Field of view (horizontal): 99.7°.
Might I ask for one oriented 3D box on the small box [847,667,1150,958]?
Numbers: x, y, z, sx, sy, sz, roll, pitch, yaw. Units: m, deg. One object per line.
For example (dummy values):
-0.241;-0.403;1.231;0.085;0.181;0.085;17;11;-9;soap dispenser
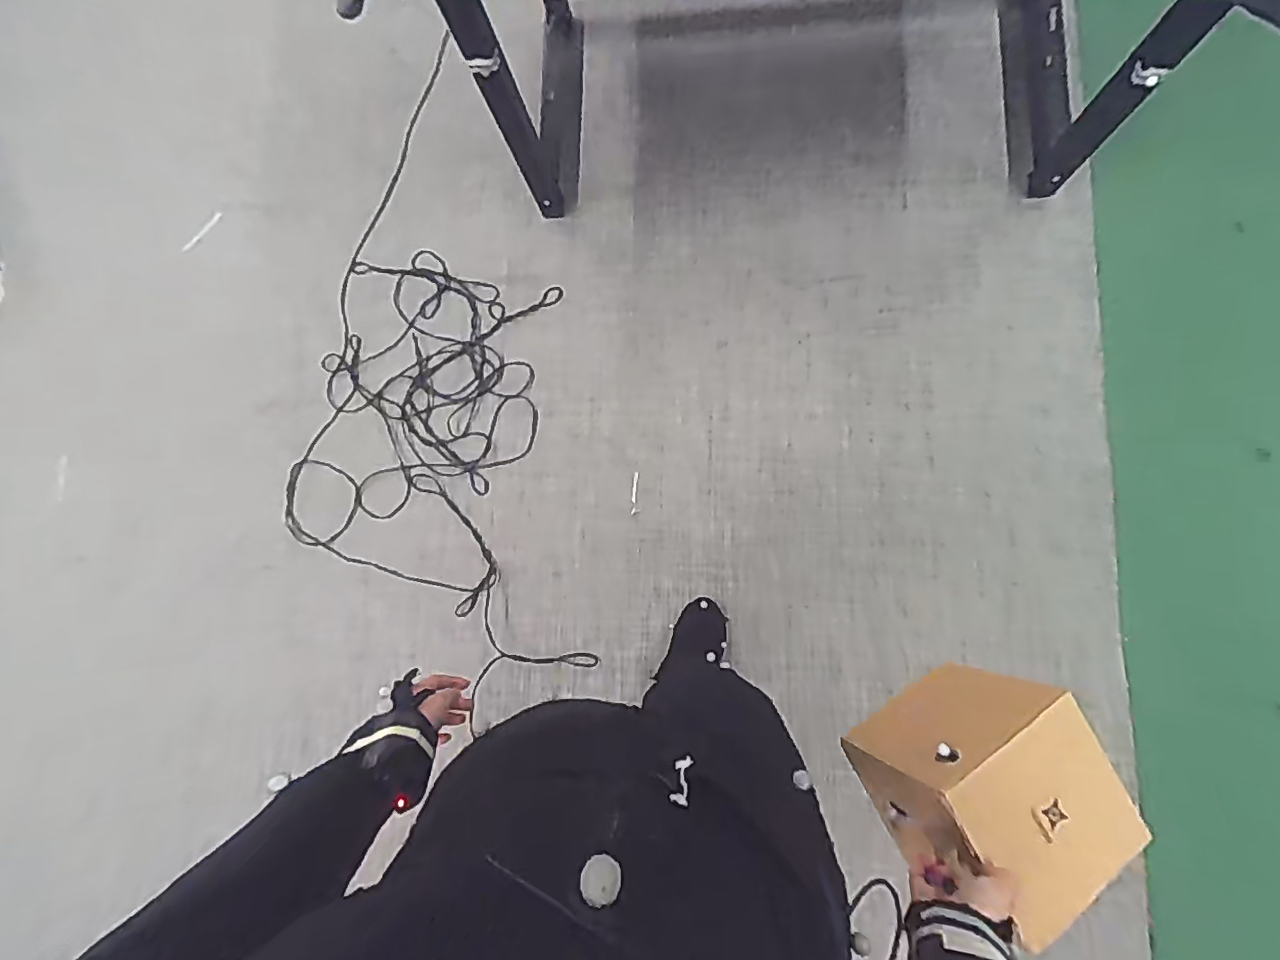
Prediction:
0.364;0.324;0.577;0.179;0.176;0.168;-29;88;-15;small box
